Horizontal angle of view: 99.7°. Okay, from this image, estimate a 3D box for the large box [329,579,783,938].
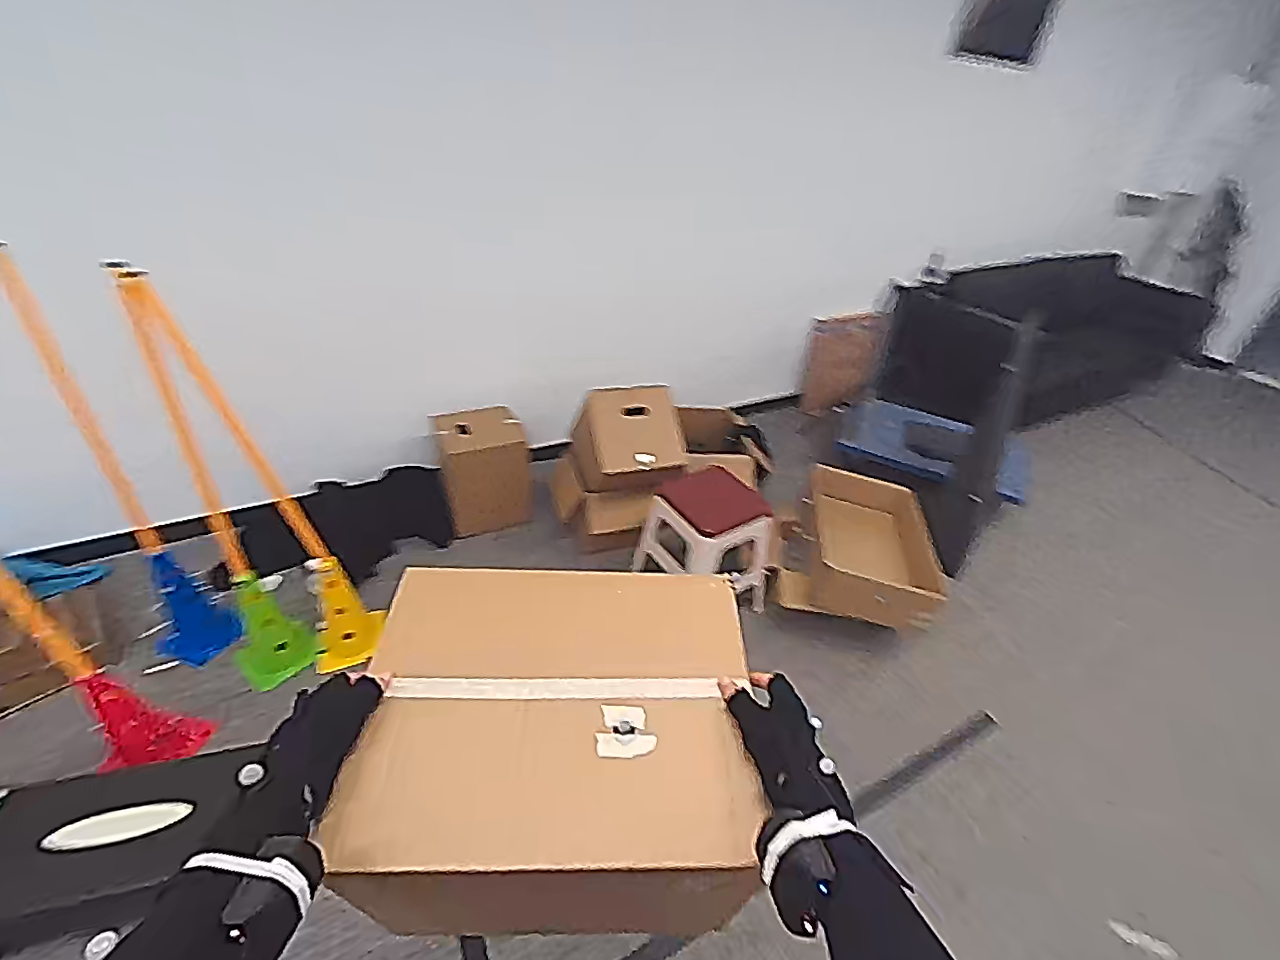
[{"bbox_3d":[-0.084,0.343,0.677,0.408,0.320,0.320,3,42,-4],"label":"large box"}]
